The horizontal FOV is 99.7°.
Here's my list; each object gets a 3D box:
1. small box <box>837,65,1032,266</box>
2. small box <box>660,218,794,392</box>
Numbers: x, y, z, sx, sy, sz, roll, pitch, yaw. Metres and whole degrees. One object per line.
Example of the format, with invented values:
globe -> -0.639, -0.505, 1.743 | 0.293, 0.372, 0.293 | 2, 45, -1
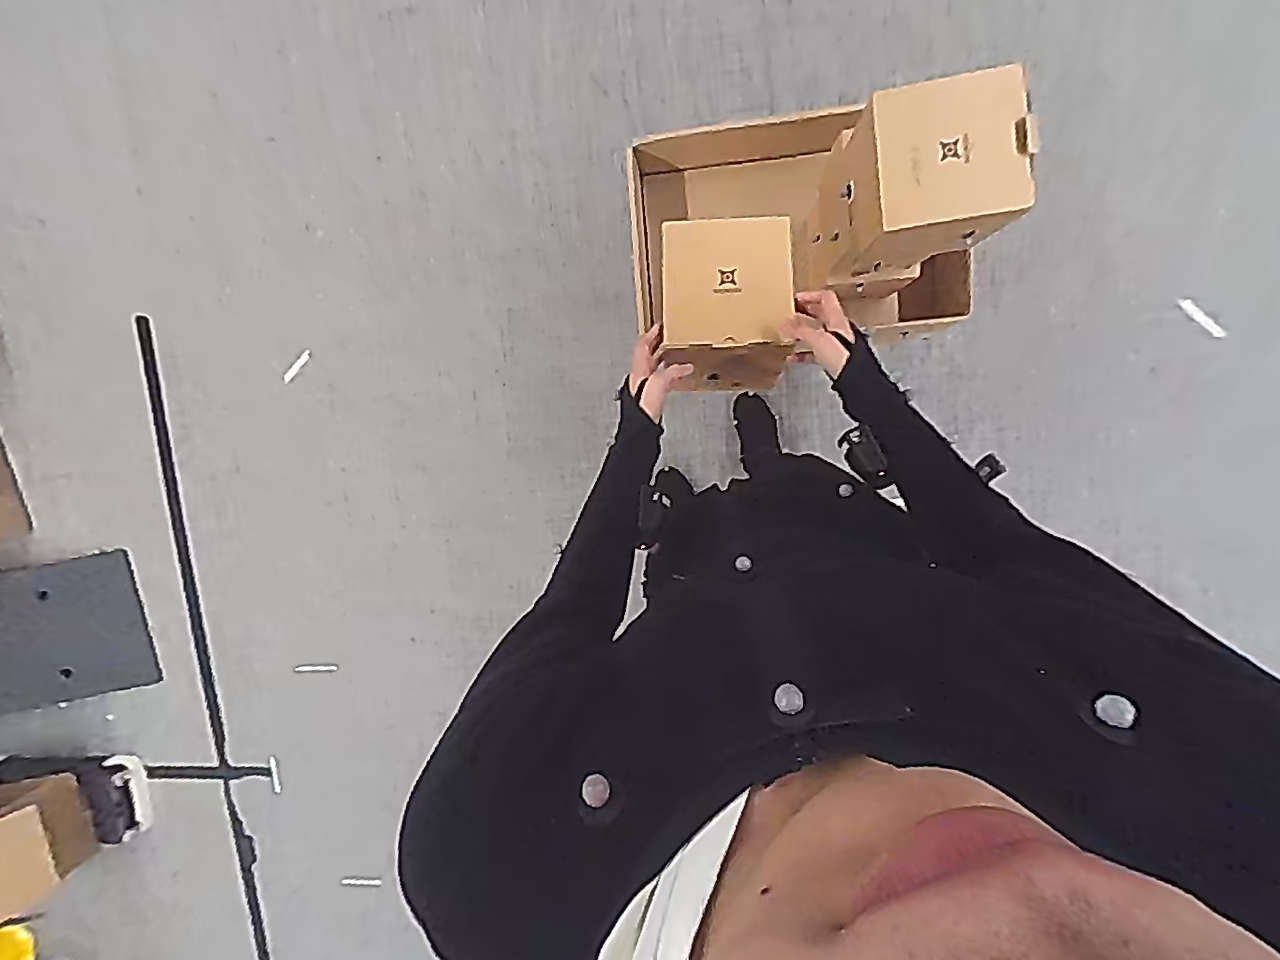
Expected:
small box -> 0.379, -0.401, 0.721 | 0.179, 0.176, 0.168 | -6, 95, 7
small box -> 0.111, -0.235, 0.758 | 0.168, 0.176, 0.179 | -1, 80, 3
